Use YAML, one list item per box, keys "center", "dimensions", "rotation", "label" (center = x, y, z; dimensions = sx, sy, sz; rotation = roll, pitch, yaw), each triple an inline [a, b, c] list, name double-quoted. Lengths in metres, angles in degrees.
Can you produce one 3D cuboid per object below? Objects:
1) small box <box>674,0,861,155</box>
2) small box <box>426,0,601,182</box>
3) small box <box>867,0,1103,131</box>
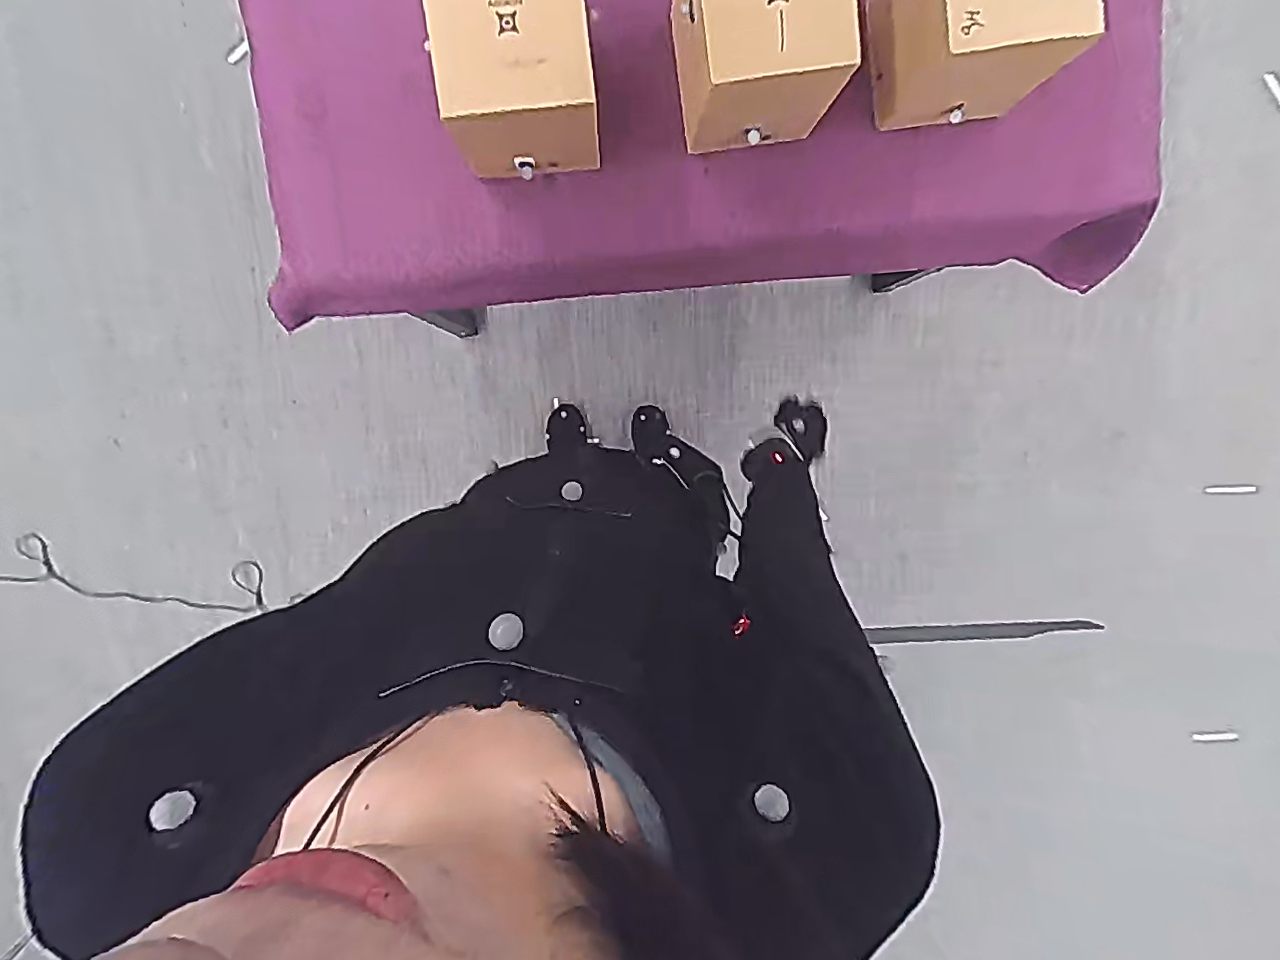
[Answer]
- center: [0.138, -0.522, 0.638]
  dimensions: [0.168, 0.176, 0.179]
  rotation: [-9, 98, -2]
  label: "small box"
- center: [-0.138, -0.480, 0.631]
  dimensions: [0.168, 0.176, 0.179]
  rotation: [-7, 98, -1]
  label: "small box"
- center: [0.400, -0.553, 0.649]
  dimensions: [0.179, 0.176, 0.168]
  rotation: [-8, 97, -2]
  label: "small box"
